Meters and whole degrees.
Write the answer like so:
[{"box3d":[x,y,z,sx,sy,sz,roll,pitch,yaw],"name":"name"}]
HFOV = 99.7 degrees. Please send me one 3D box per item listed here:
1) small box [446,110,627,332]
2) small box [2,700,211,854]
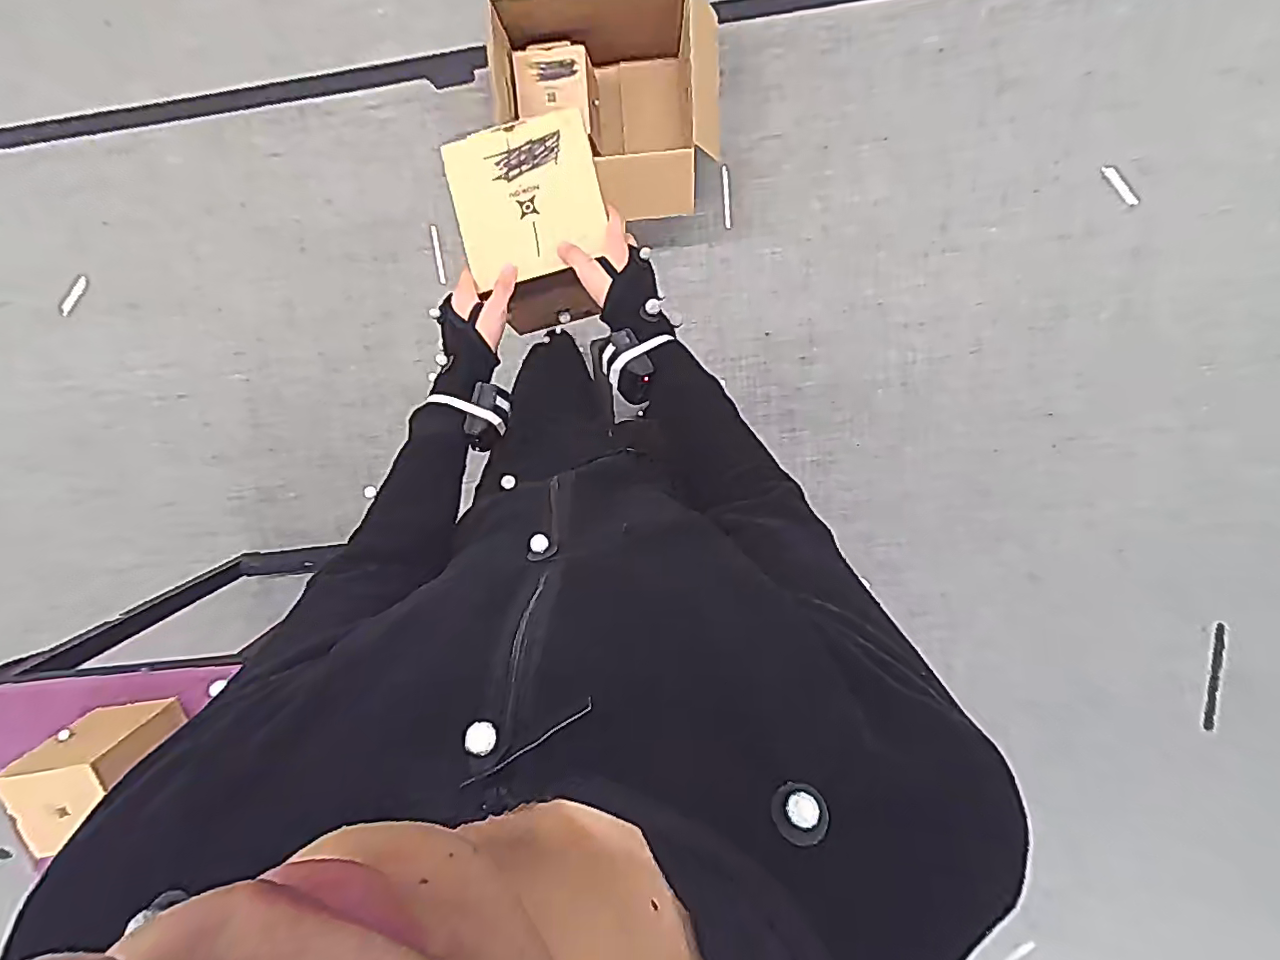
[{"box3d":[-0.119,-0.312,0.686,0.168,0.176,0.179,-14,88,4],"name":"small box"},{"box3d":[-0.931,0.520,0.962,0.179,0.176,0.168,-10,105,5],"name":"small box"}]
